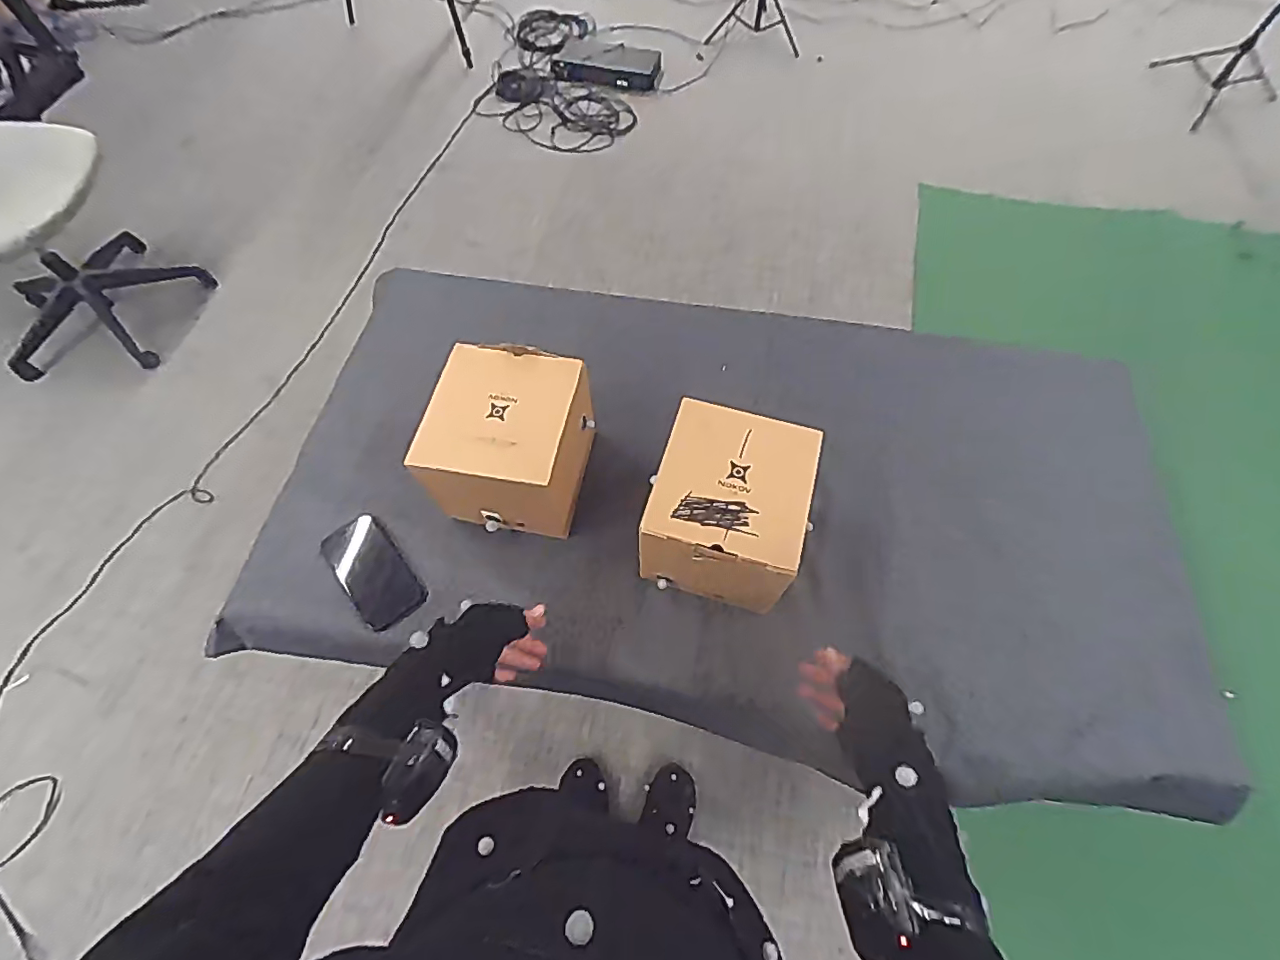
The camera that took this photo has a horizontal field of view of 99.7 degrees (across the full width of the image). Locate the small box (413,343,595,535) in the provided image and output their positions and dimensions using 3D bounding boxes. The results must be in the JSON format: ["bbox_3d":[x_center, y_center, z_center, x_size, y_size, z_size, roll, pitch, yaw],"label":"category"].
[{"bbox_3d":[-0.157,-0.047,0.697,0.168,0.176,0.179,8,65,6],"label":"small box"}]

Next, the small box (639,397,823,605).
[{"bbox_3d":[0.104,0.033,0.650,0.168,0.176,0.179,15,63,9],"label":"small box"}]
